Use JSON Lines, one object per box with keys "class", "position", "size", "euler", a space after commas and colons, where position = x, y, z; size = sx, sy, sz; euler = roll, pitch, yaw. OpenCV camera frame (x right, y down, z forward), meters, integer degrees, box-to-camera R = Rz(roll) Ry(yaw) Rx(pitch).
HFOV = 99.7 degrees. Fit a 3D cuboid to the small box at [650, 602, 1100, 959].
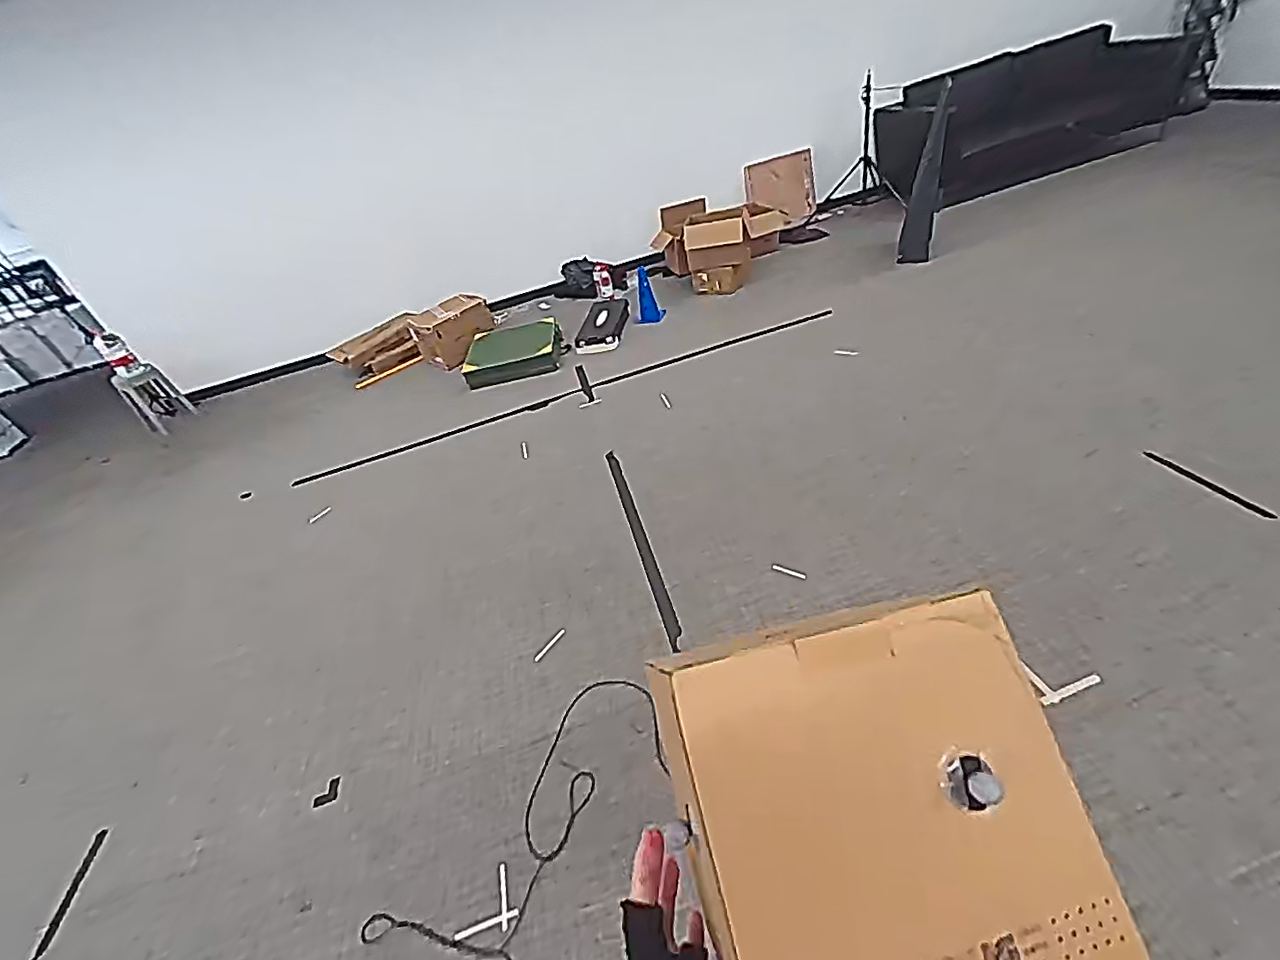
{"class": "small box", "position": [0.109, 0.183, 0.327], "size": [0.168, 0.179, 0.176], "euler": [-13, 73, -7]}
